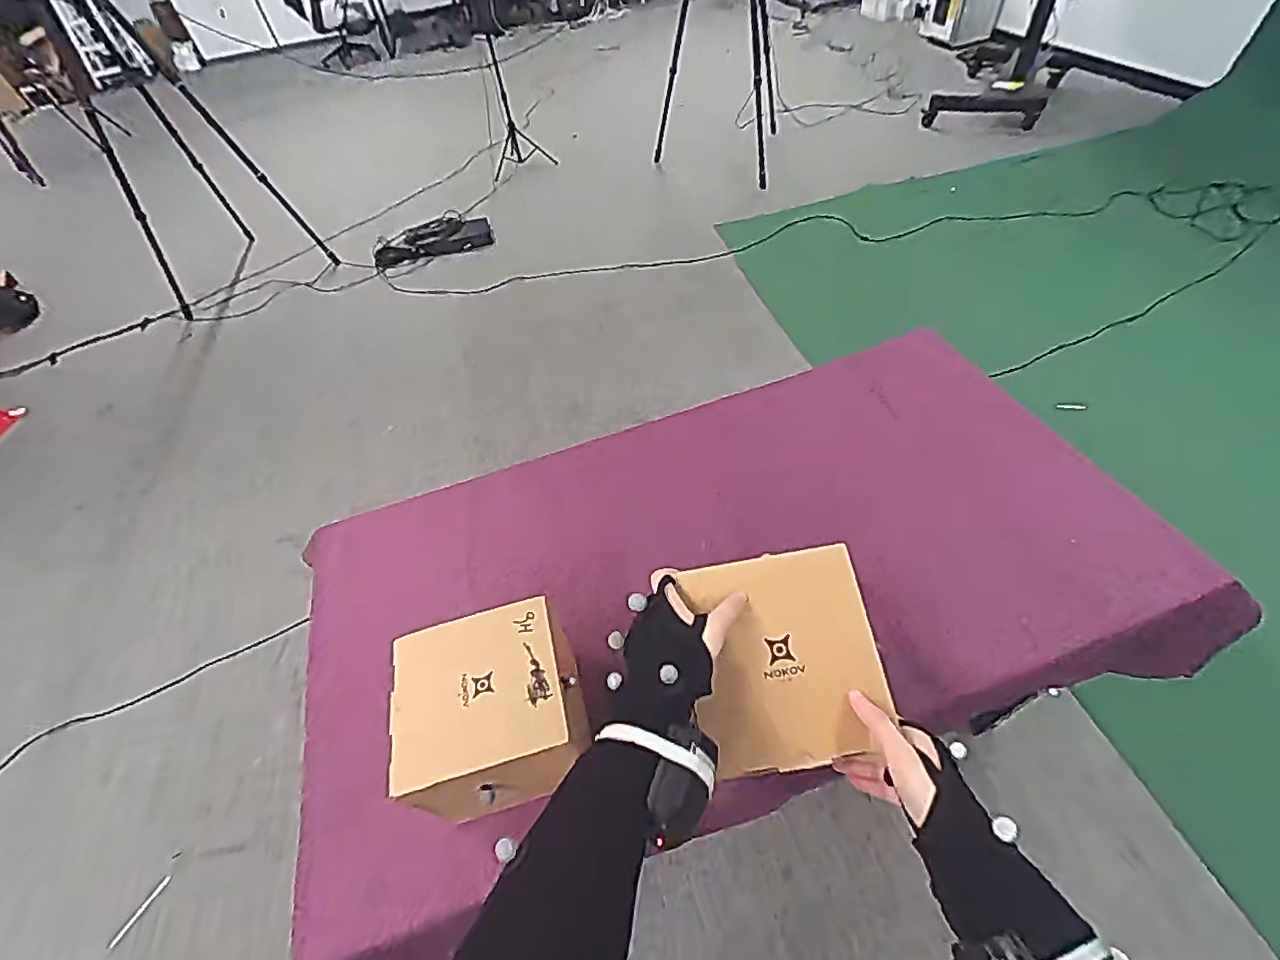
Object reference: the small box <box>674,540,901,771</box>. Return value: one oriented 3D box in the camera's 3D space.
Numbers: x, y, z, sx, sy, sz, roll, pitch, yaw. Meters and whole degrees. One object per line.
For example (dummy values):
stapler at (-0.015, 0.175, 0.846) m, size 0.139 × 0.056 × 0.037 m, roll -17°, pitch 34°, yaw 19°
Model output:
small box at (0.128, 0.175, 0.550) m, size 0.168 × 0.176 × 0.179 m, roll -10°, pitch 71°, yaw 0°

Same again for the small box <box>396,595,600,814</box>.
small box at (-0.158, 0.264, 0.625) m, size 0.179 × 0.176 × 0.168 m, roll -16°, pitch 52°, yaw -5°
